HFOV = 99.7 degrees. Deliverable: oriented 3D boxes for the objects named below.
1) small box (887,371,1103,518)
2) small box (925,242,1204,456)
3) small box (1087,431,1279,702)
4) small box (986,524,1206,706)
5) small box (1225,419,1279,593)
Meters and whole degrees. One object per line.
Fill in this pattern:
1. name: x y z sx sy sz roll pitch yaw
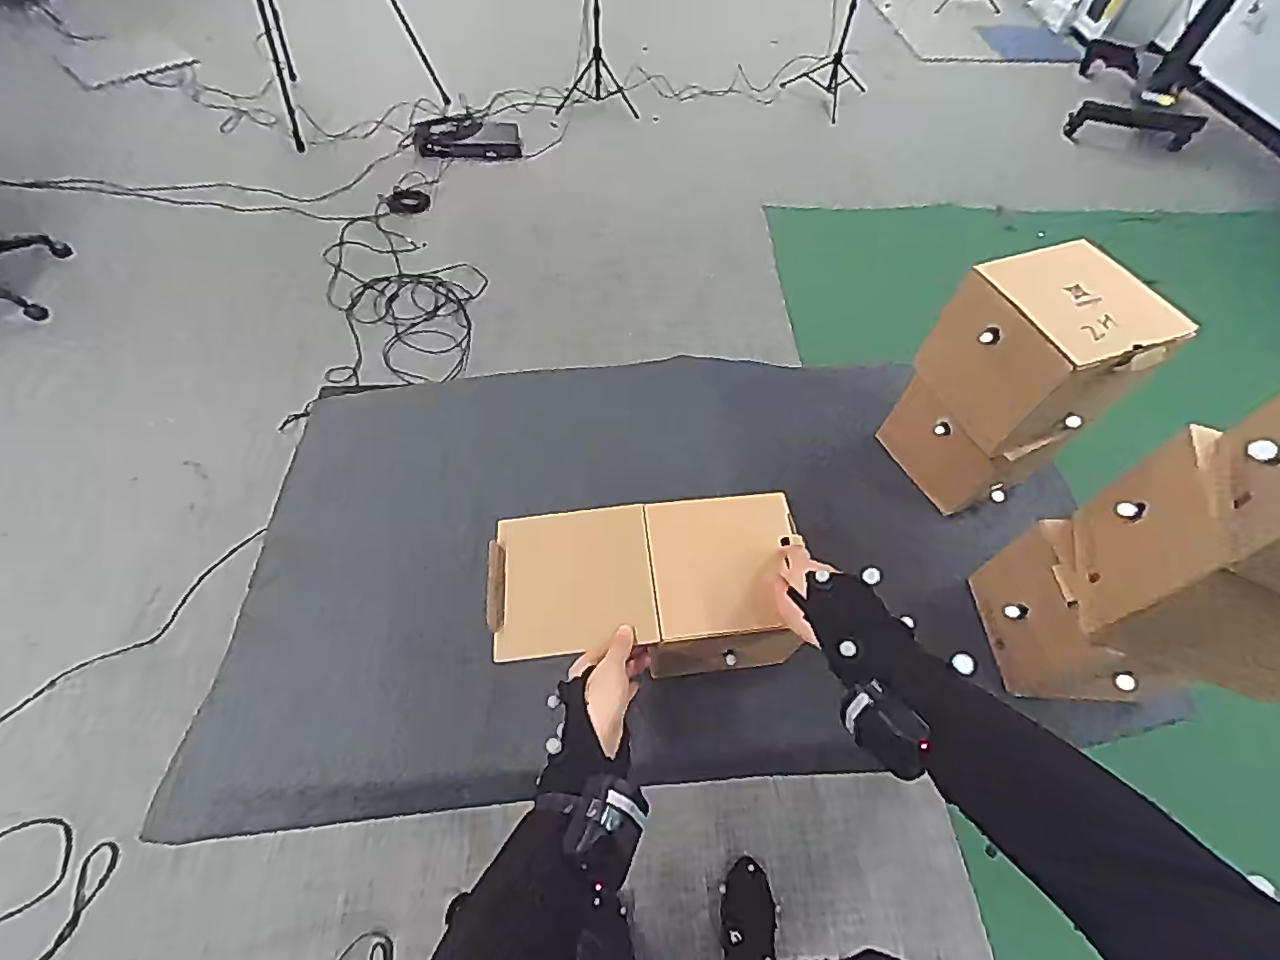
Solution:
1. small box: 0.511 -0.073 0.813 0.168 0.176 0.179 -22 62 -13
2. small box: 0.498 -0.158 0.672 0.168 0.176 0.179 -16 61 -9
3. small box: 0.568 0.088 0.515 0.179 0.176 0.168 20 56 11
4. small box: 0.559 0.168 0.657 0.179 0.176 0.168 2 55 0
5. small box: 0.573 0.012 0.366 0.179 0.176 0.168 29 58 17
